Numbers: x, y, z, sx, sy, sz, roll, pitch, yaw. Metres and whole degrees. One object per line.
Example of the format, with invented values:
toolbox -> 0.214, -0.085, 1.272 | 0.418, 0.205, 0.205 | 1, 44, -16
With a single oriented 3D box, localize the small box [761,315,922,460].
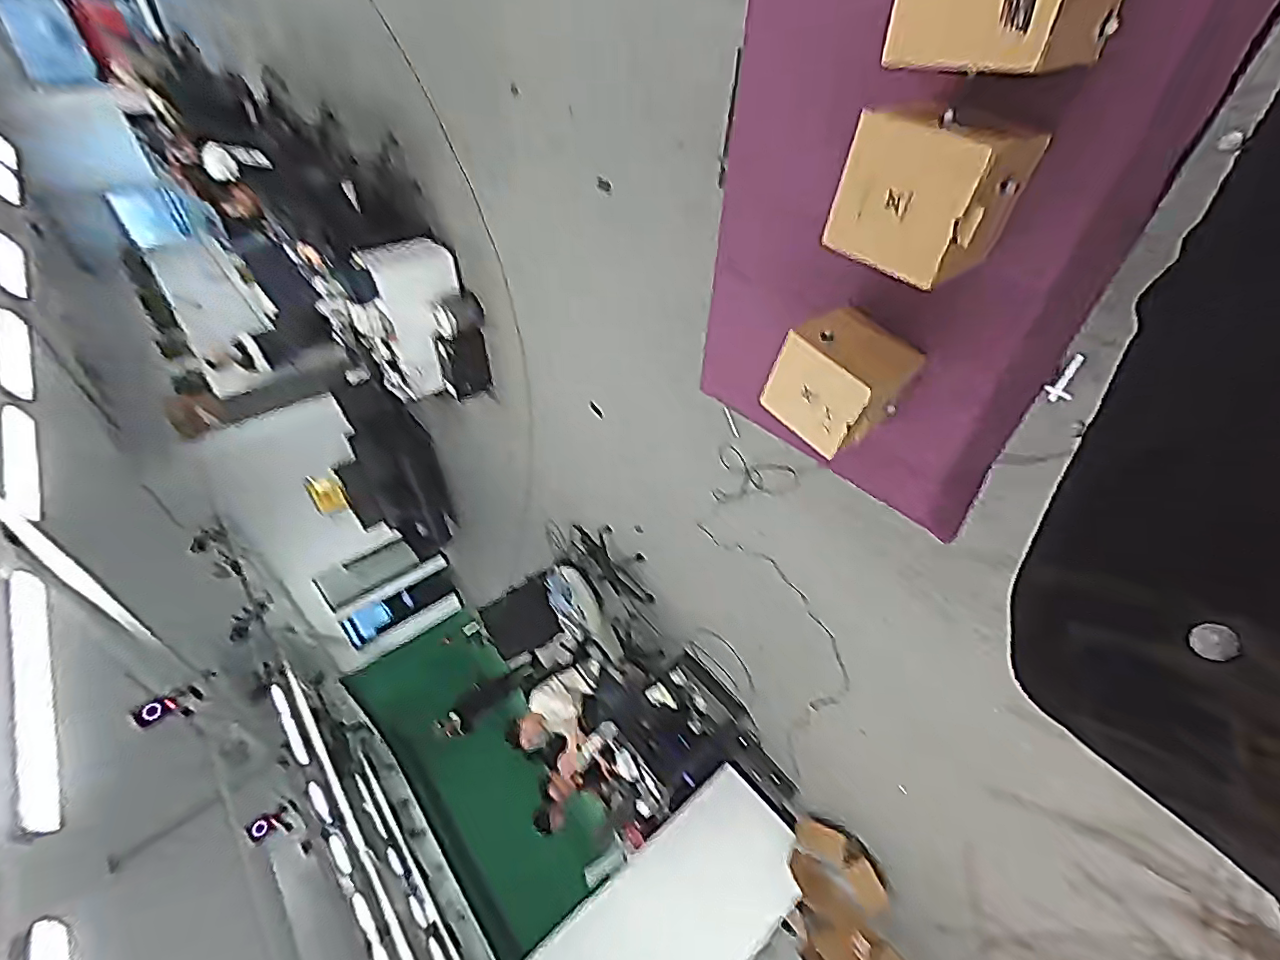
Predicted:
small box -> 0.354, -0.173, 0.964 | 0.179, 0.176, 0.168 | 45, 148, 24

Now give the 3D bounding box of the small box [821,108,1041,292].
small box -> 0.387, -0.385, 0.730 | 0.179, 0.176, 0.168 | 42, 145, 30
